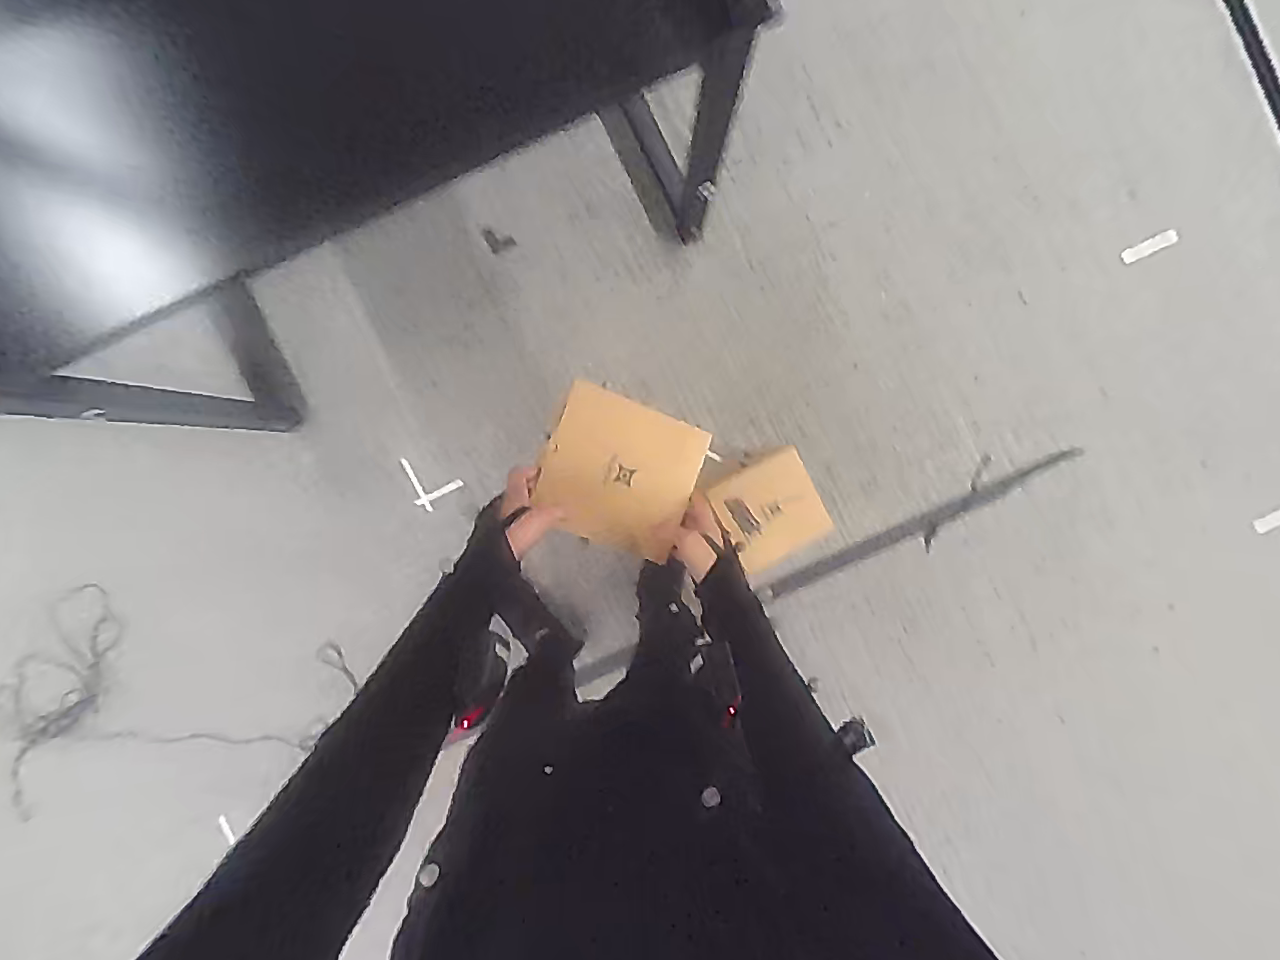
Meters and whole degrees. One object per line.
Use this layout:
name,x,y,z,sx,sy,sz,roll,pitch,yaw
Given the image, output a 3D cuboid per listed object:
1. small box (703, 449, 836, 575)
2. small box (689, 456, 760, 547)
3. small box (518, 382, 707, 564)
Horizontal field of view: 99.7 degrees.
small box,0.227,0.054,1.008,0.179,0.176,0.168,-27,93,0
small box,0.234,0.045,1.337,0.179,0.176,0.168,-26,92,1
small box,-0.043,-0.009,0.686,0.179,0.176,0.168,20,88,-11
